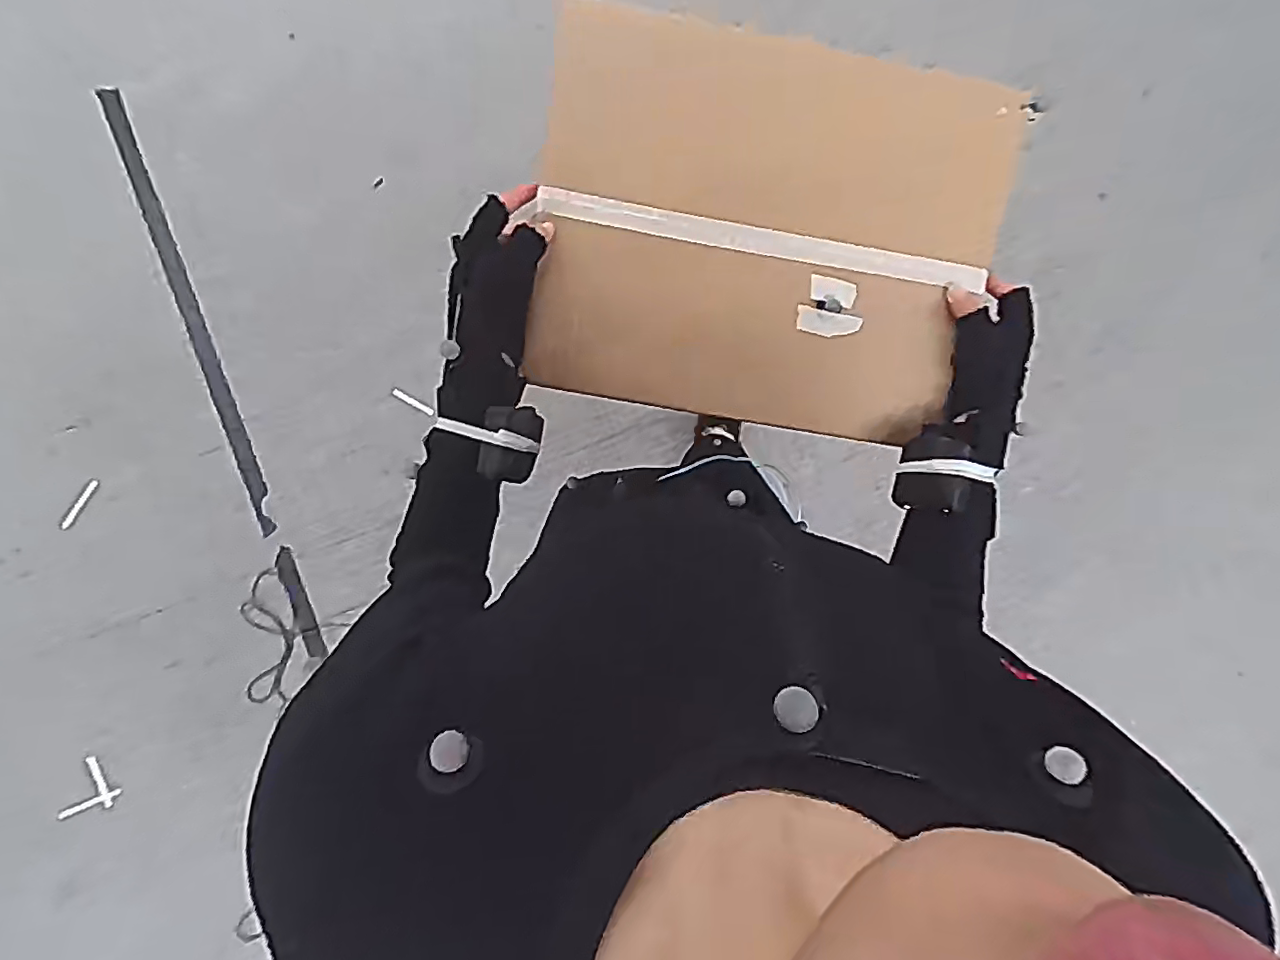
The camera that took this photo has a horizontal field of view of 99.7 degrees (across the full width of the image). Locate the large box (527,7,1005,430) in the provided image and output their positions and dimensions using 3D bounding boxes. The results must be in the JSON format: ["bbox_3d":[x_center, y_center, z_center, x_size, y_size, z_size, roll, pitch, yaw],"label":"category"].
[{"bbox_3d":[0.101,-0.254,0.641,0.408,0.320,0.320,9,102,-5],"label":"large box"}]
